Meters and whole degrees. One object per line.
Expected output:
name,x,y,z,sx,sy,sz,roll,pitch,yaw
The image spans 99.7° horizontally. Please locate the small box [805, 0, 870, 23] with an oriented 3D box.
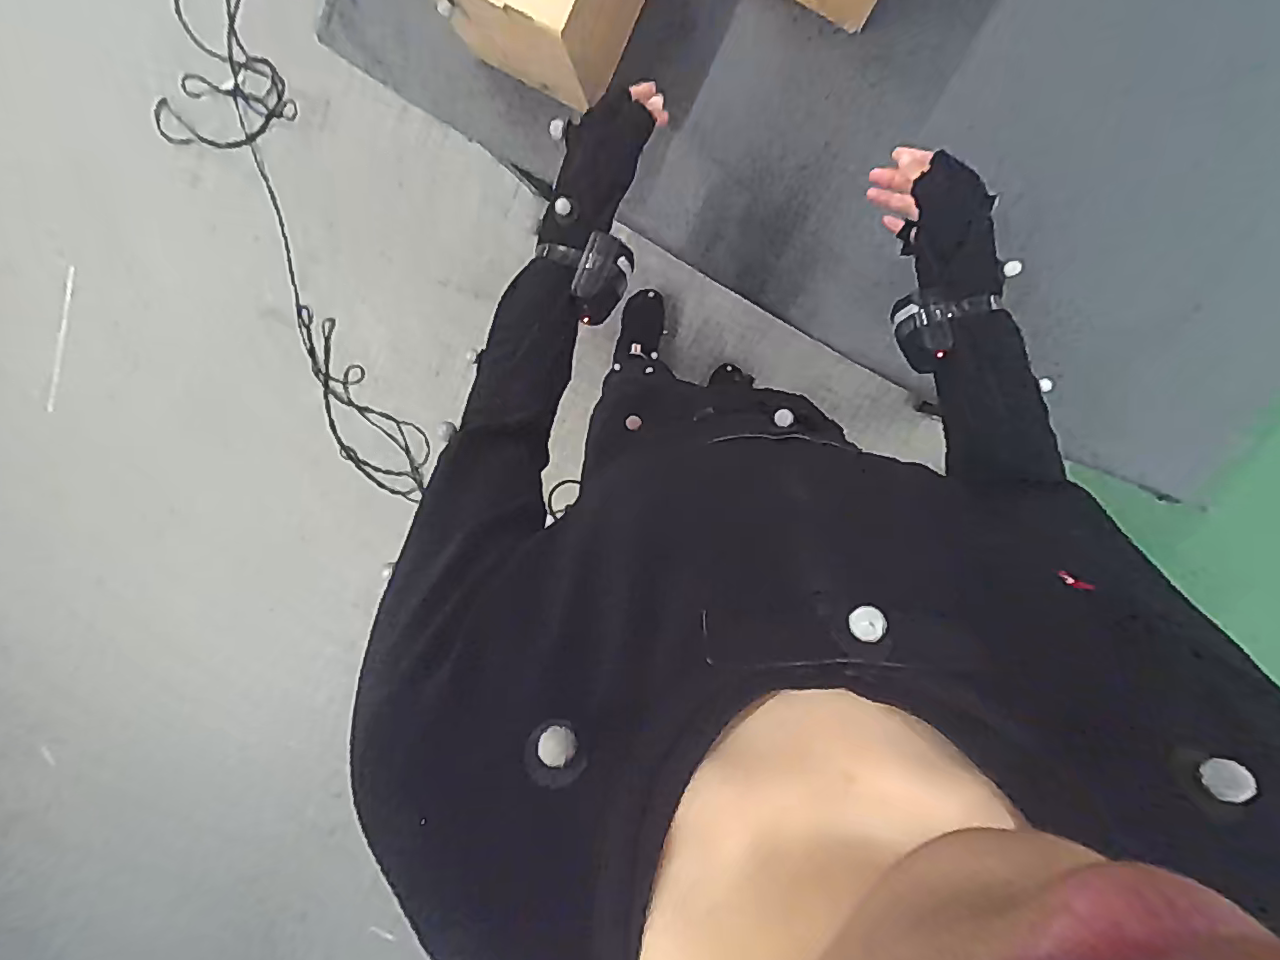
small box,0.201,-0.592,0.497,0.168,0.176,0.179,30,106,-2
